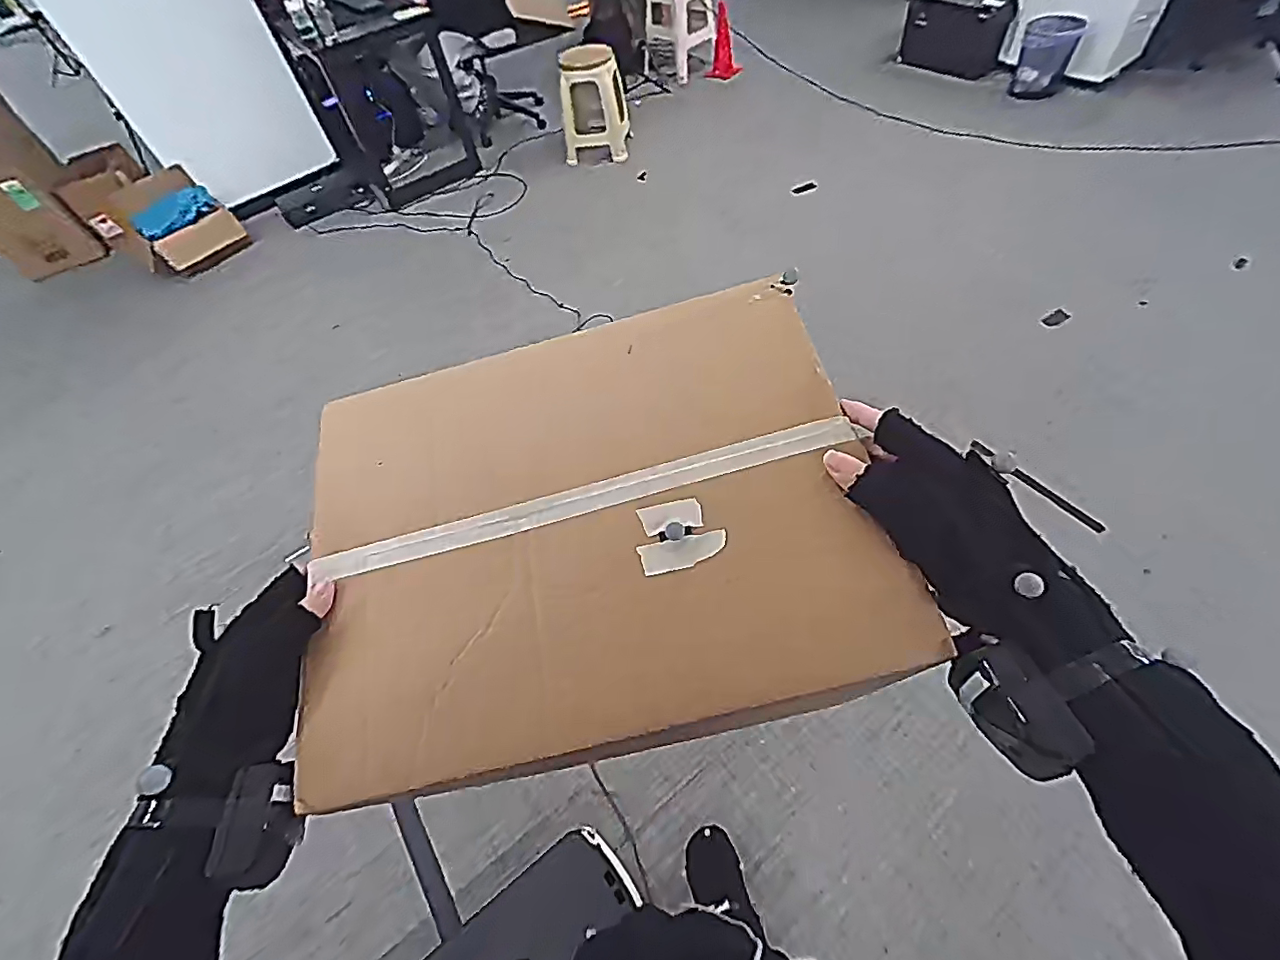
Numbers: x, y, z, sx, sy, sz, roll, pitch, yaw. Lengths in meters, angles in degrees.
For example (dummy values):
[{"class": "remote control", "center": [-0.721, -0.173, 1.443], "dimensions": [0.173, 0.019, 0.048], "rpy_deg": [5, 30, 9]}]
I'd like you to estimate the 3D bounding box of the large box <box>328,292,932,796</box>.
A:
[{"class": "large box", "center": [-0.020, 0.084, 0.538], "dimensions": [0.408, 0.320, 0.320], "rpy_deg": [-15, 63, 2]}]
